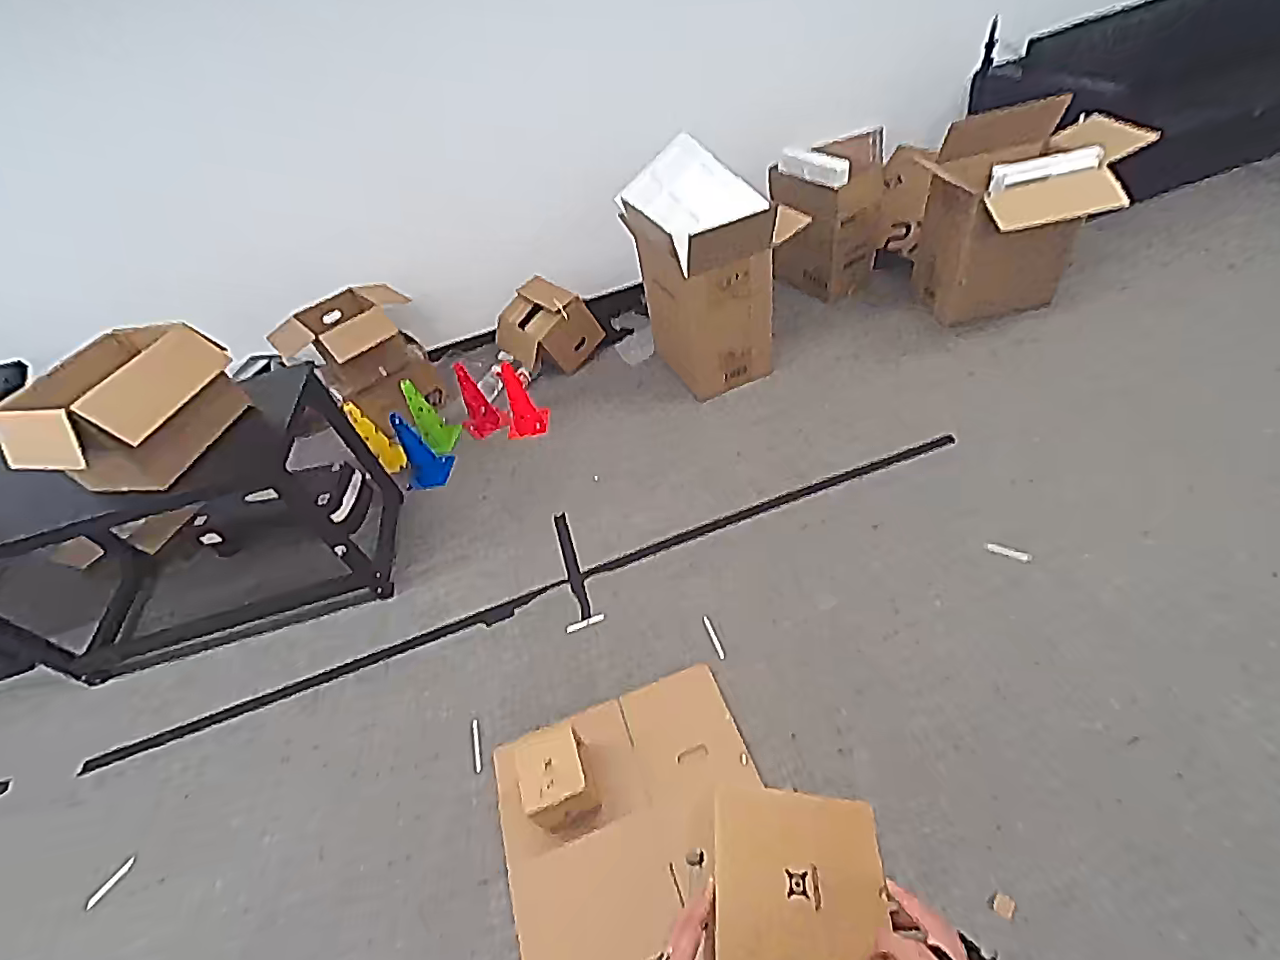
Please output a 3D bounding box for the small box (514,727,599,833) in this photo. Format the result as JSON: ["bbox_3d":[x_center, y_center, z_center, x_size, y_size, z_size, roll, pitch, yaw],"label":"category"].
[{"bbox_3d":[-0.222,0.804,1.447,0.168,0.176,0.179,-21,46,-6],"label":"small box"}]

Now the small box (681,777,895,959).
[{"bbox_3d":[0.144,0.444,0.584,0.179,0.176,0.168,9,47,-1],"label":"small box"}]
